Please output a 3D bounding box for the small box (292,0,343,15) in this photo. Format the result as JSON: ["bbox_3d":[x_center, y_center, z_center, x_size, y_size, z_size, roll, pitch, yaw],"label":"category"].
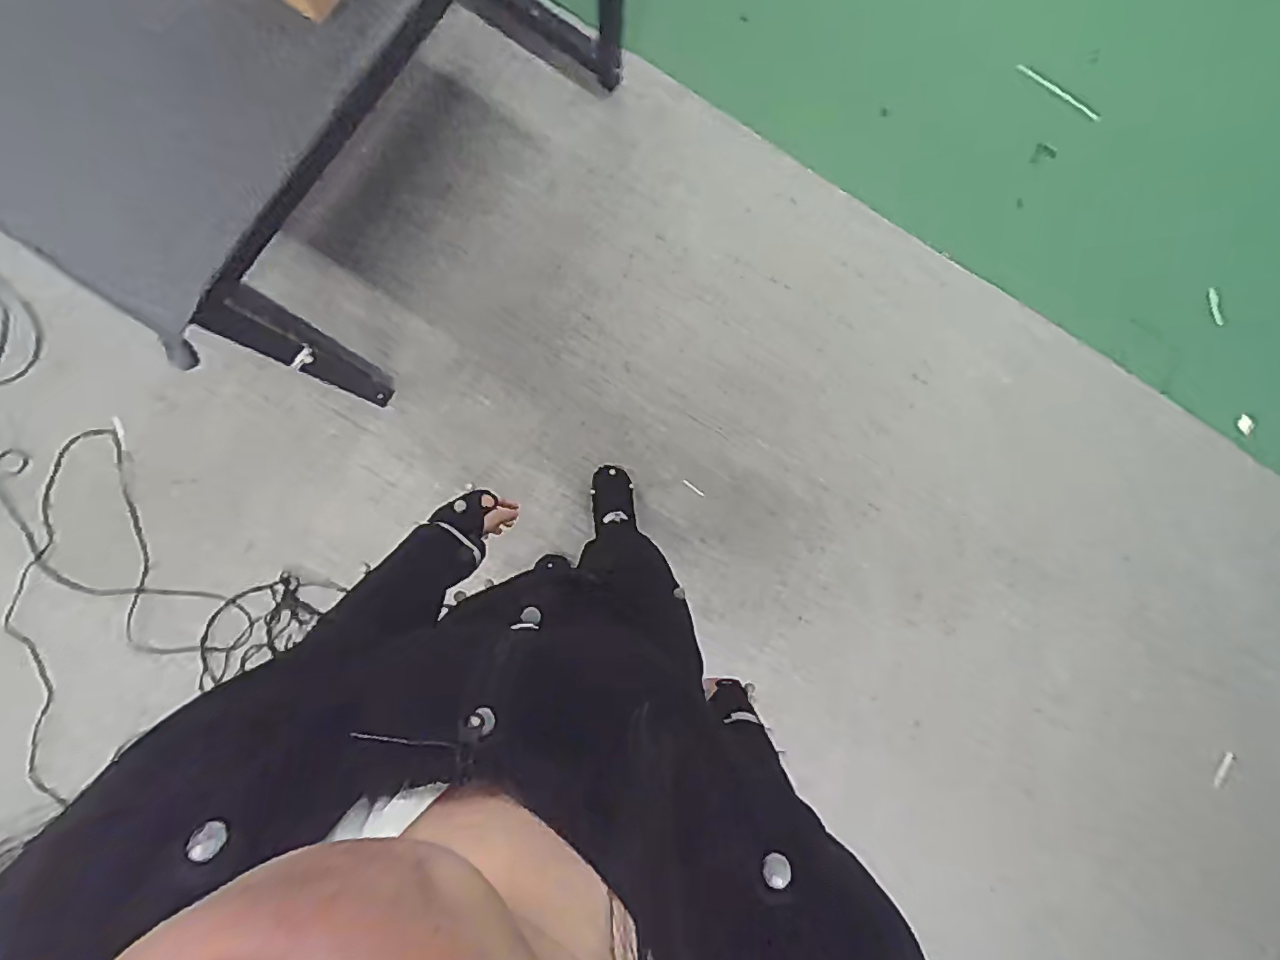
[{"bbox_3d":[-0.479,-0.781,0.709,0.179,0.176,0.168,34,86,-1],"label":"small box"}]
